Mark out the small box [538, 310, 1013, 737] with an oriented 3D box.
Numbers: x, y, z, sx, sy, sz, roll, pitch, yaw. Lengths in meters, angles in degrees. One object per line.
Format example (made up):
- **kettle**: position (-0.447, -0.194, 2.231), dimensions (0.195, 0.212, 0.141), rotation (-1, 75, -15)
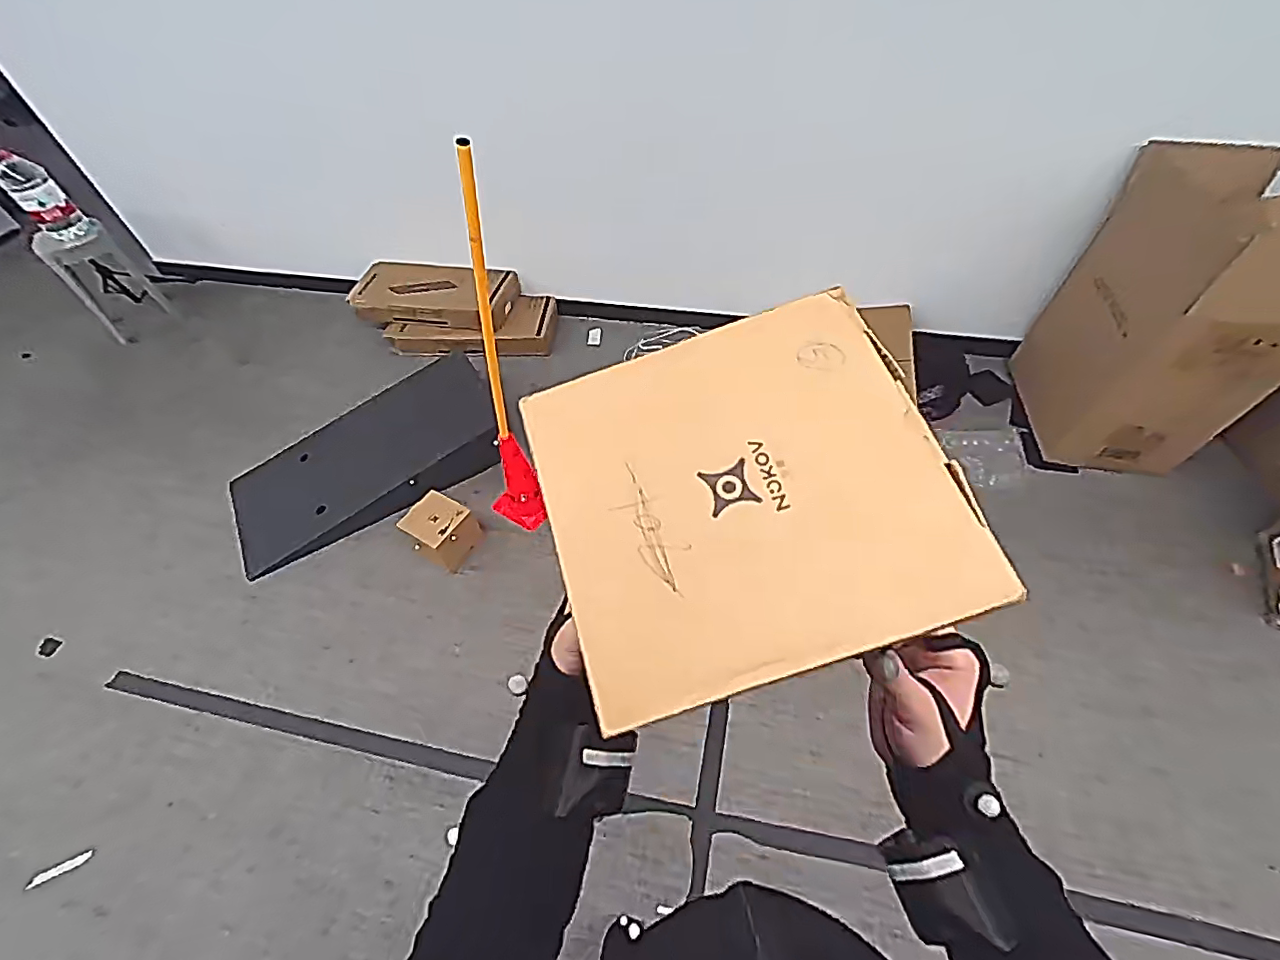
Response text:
- **small box**: position (0.062, 0.038, 0.325), dimensions (0.179, 0.176, 0.168), rotation (-20, 66, 2)
